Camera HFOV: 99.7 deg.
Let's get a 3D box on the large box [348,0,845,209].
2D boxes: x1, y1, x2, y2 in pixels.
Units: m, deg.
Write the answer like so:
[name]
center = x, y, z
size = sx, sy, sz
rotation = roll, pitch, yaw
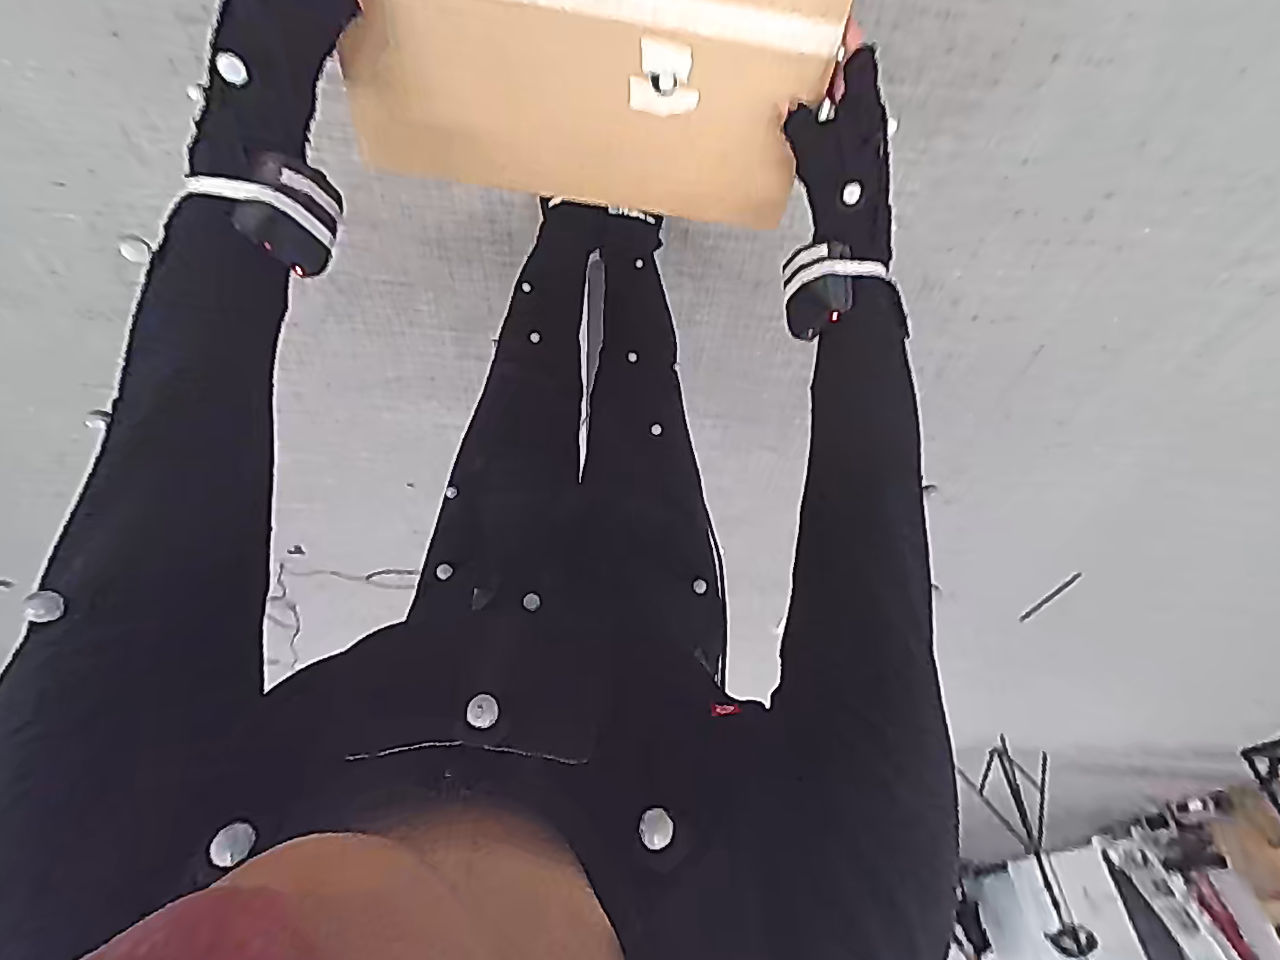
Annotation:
[large box]
center = -0.034, -0.504, 0.522
size = 0.408, 0.320, 0.320
rotation = 5, 140, -6
